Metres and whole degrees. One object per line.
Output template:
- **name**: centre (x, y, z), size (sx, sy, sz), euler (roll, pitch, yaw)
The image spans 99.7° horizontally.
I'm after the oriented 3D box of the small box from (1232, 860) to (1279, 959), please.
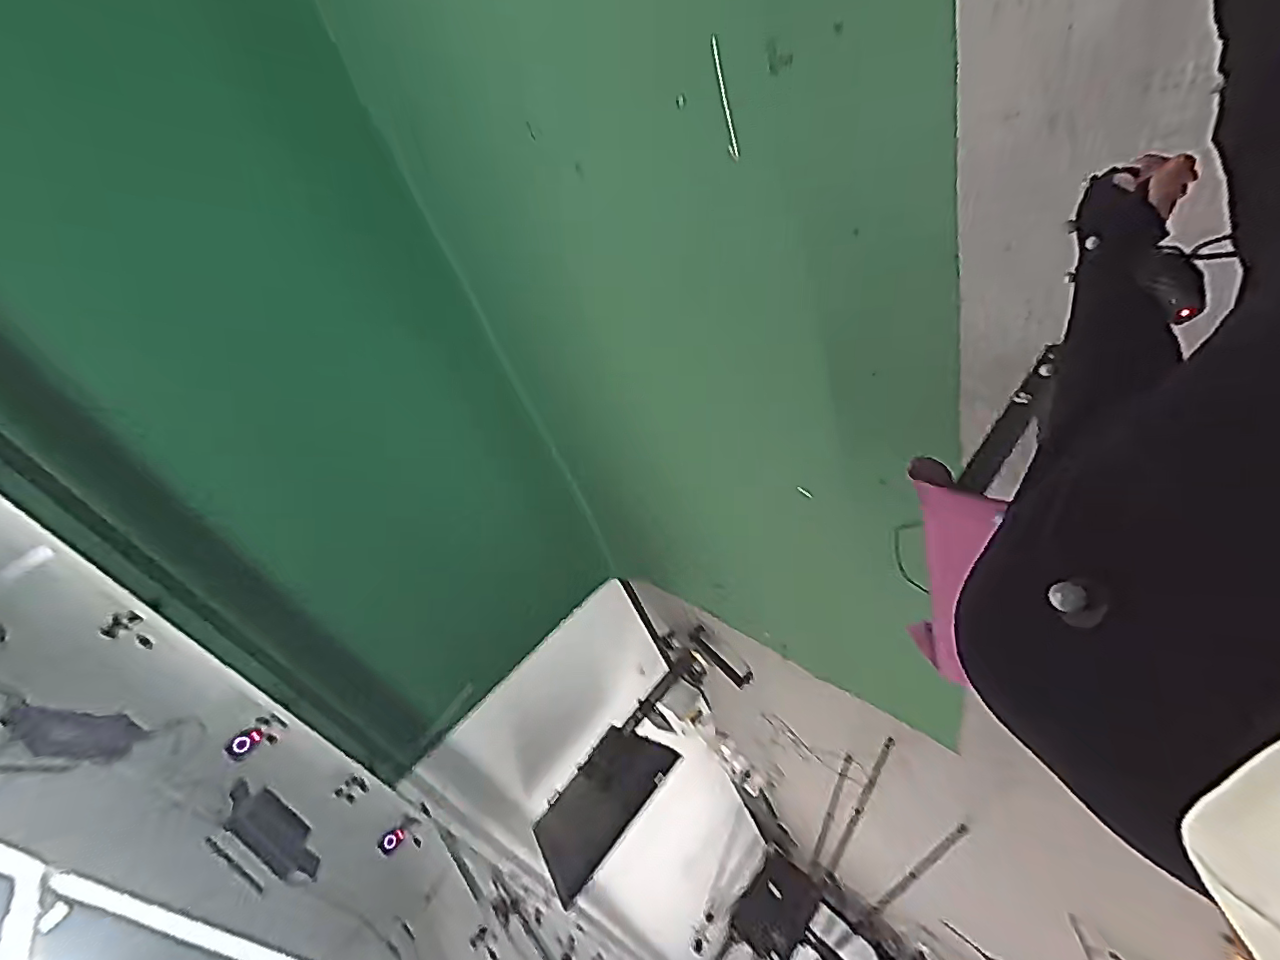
- **small box**: centre (0.978, 0.692, 0.764), size (0.168, 0.176, 0.179), euler (19, 141, 48)
